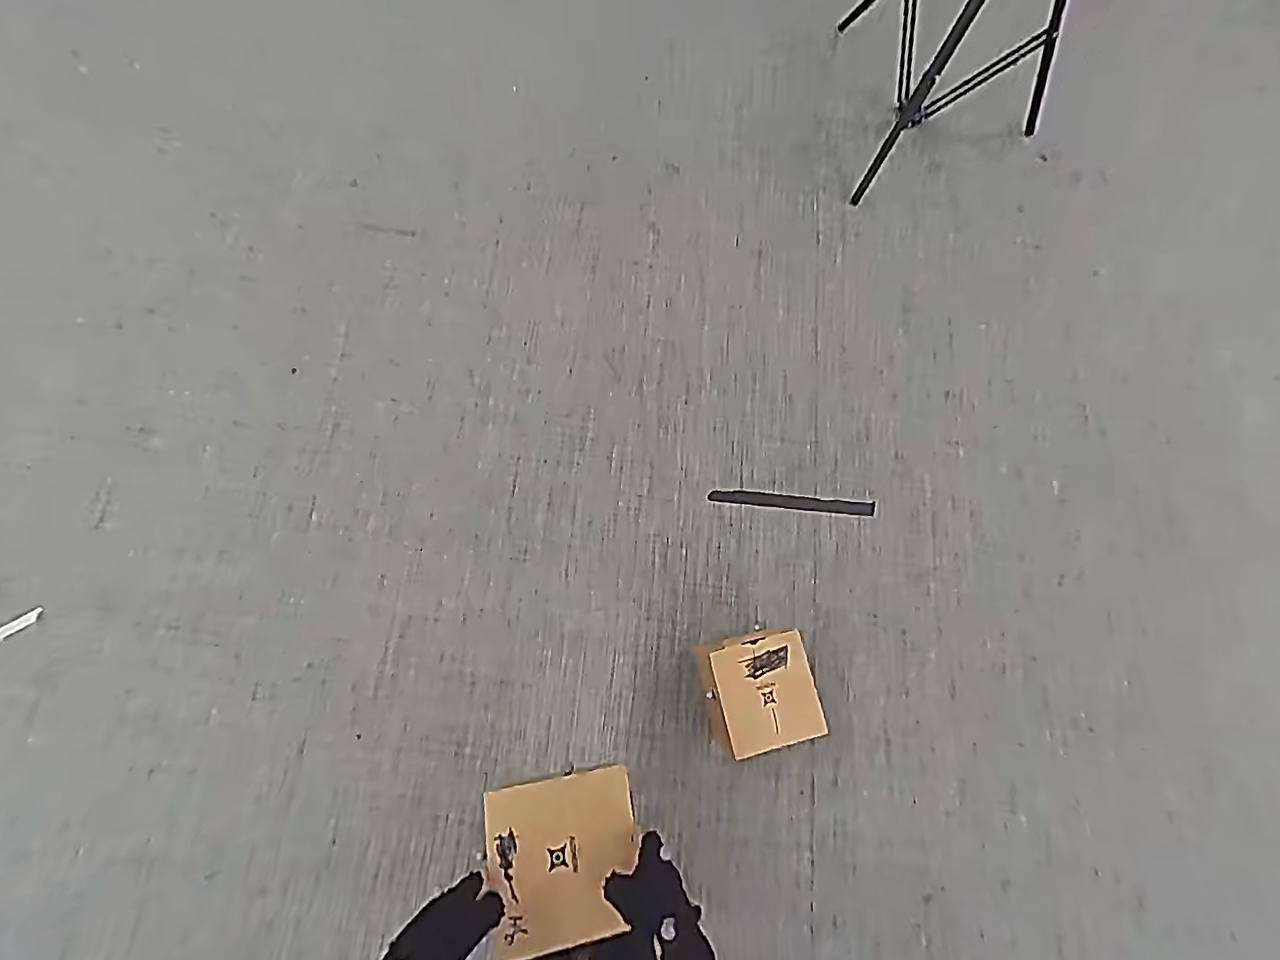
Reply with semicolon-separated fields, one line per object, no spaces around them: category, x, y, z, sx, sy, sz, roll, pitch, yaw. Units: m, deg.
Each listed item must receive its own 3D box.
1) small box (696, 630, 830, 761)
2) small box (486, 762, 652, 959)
small box;0.209;0.376;0.973;0.168;0.176;0.179;-12;76;-7
small box;-0.097;0.463;0.685;0.179;0.176;0.168;-5;64;-13
